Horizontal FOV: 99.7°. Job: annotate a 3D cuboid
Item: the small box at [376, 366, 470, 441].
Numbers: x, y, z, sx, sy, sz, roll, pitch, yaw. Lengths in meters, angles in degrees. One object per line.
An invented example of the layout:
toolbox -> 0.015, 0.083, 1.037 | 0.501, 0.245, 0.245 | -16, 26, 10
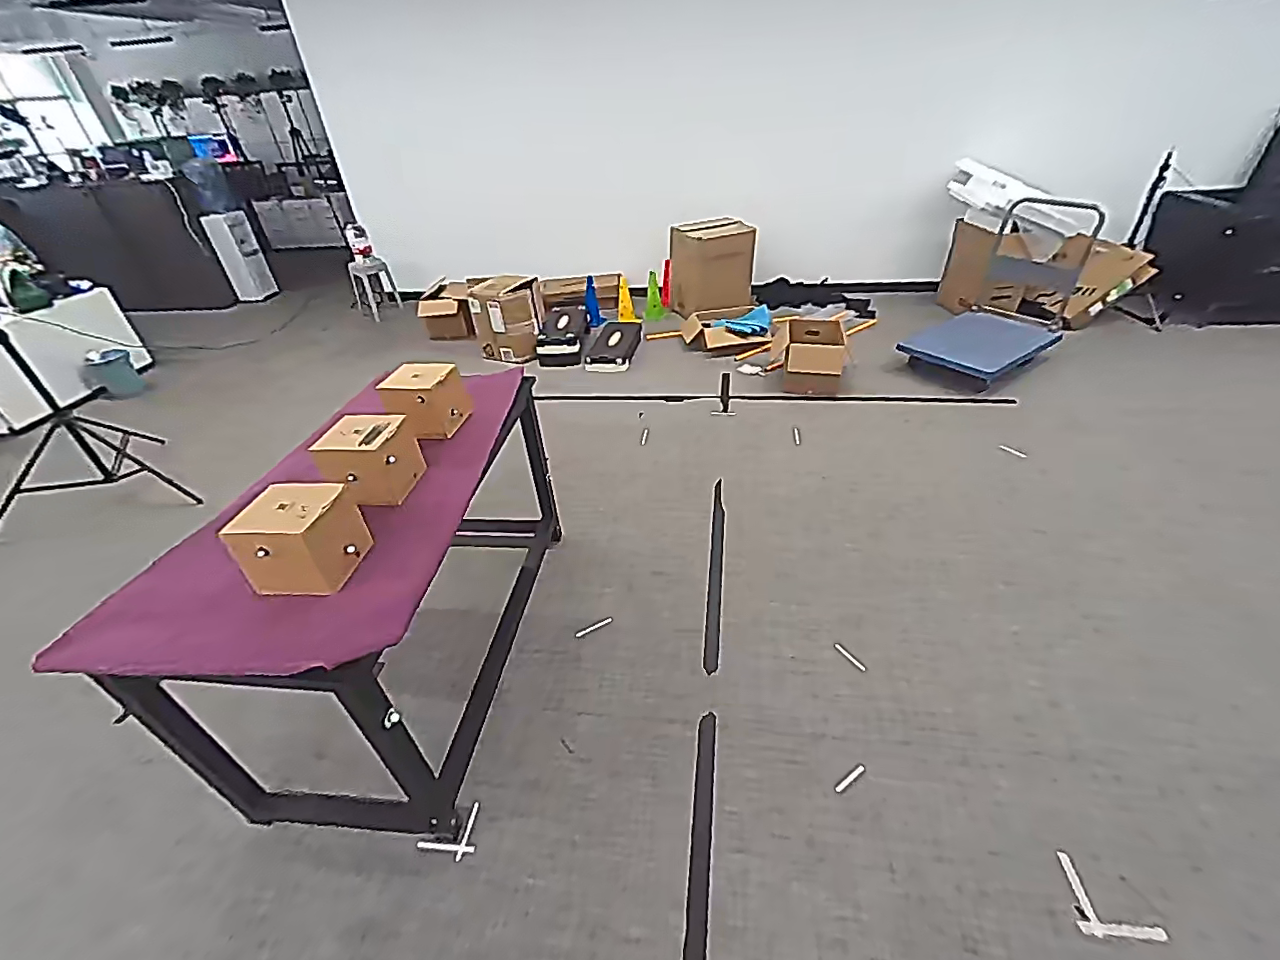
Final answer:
small box -> -0.636, -0.228, 1.606 | 0.179, 0.176, 0.168 | 2, 37, 11

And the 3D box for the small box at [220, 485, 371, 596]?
small box -> -0.700, 0.125, 1.122 | 0.179, 0.176, 0.168 | 0, 35, 5
